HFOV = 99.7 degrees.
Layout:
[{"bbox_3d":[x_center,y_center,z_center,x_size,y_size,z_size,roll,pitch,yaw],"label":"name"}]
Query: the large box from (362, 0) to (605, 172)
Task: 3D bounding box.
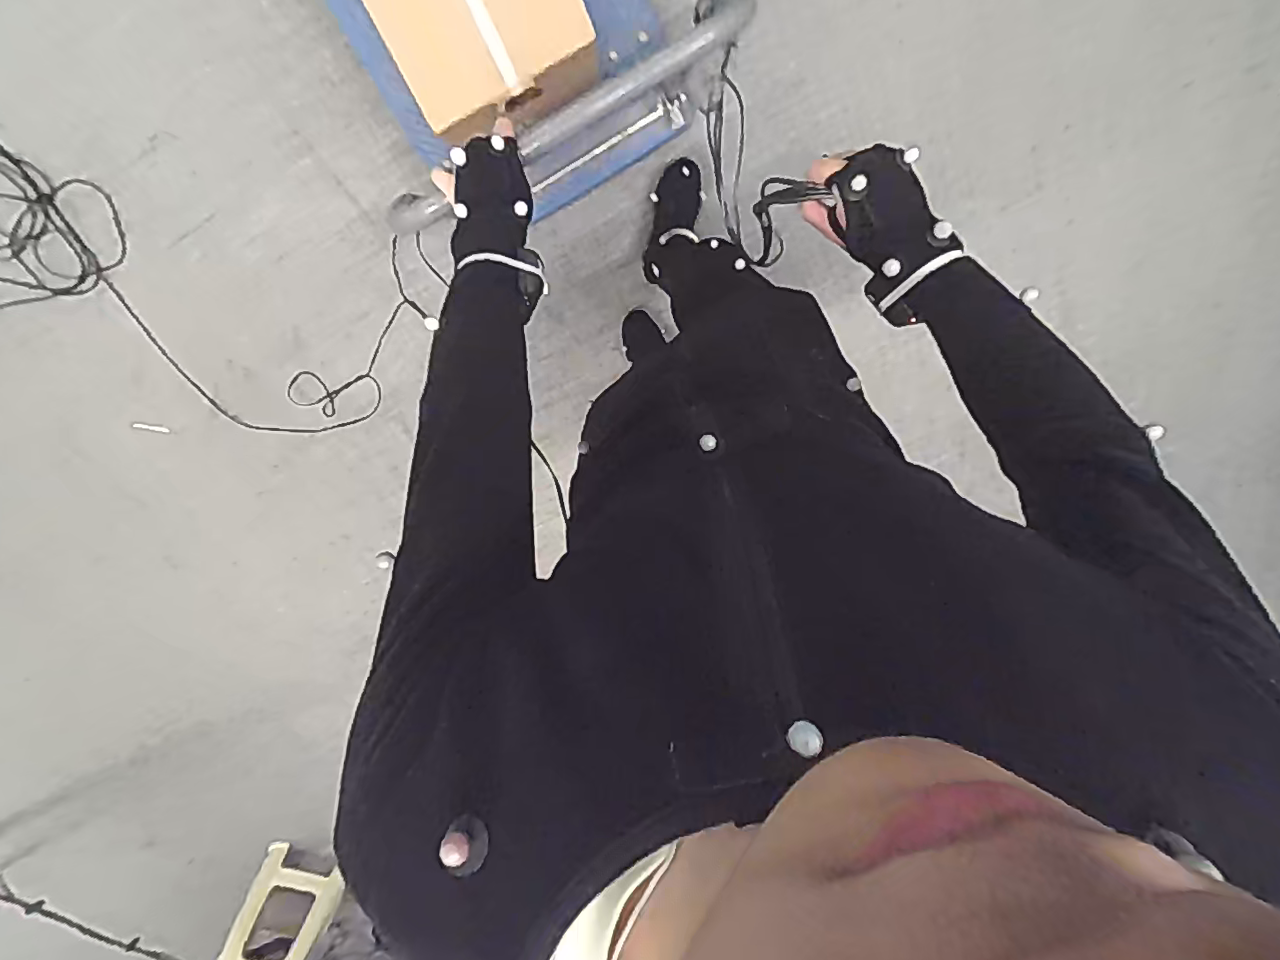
[{"bbox_3d":[-0.292,-0.854,0.979,0.320,0.320,0.408,-25,110,7],"label":"large box"}]
